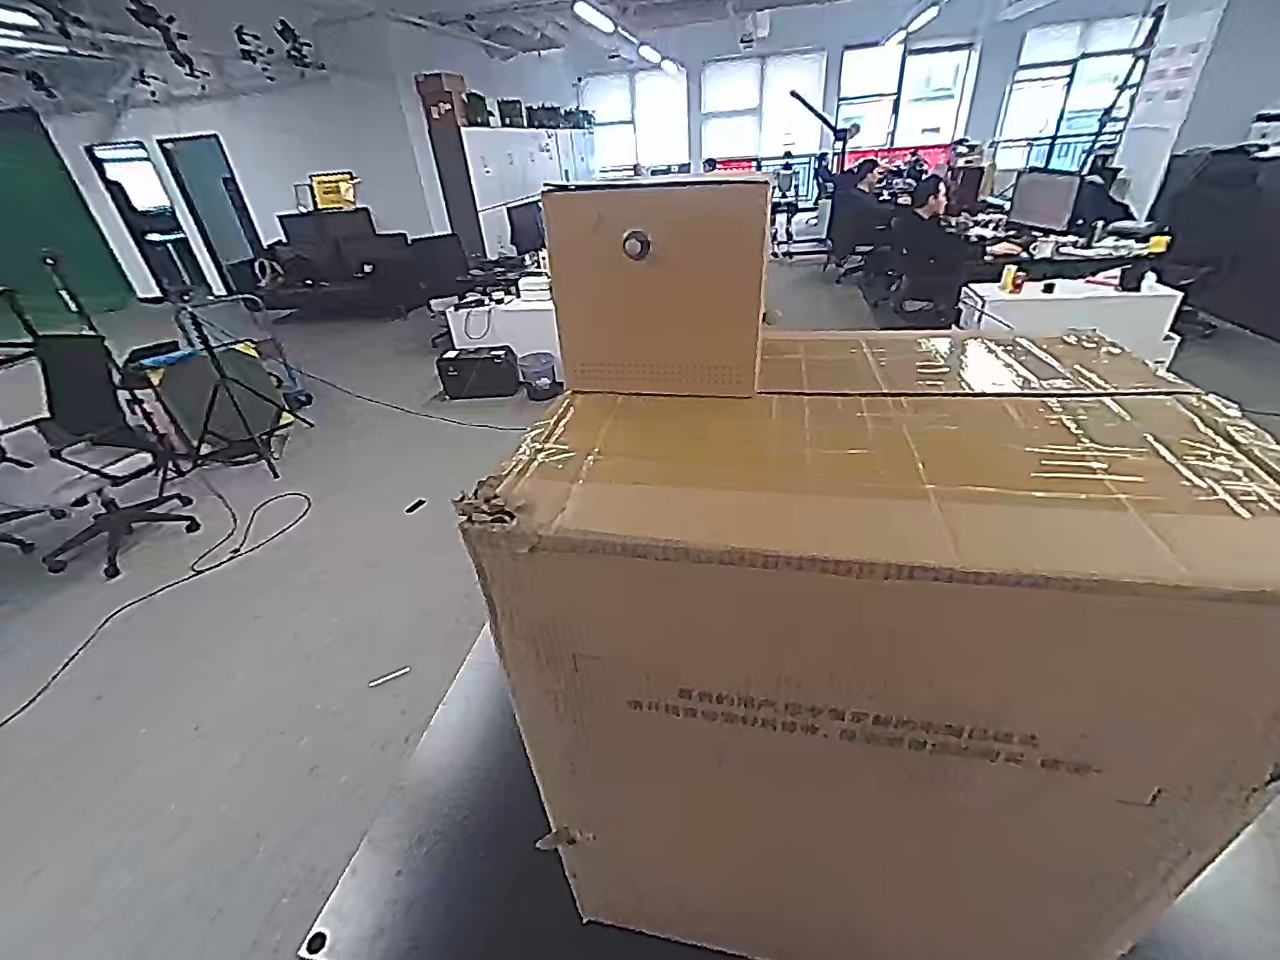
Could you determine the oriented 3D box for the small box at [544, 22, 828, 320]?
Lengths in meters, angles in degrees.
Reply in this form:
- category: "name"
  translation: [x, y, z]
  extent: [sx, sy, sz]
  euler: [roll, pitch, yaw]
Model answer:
- category: "small box"
  translation: [0.043, -0.228, 0.427]
  extent: [0.179, 0.176, 0.168]
  euler: [4, 31, 12]
